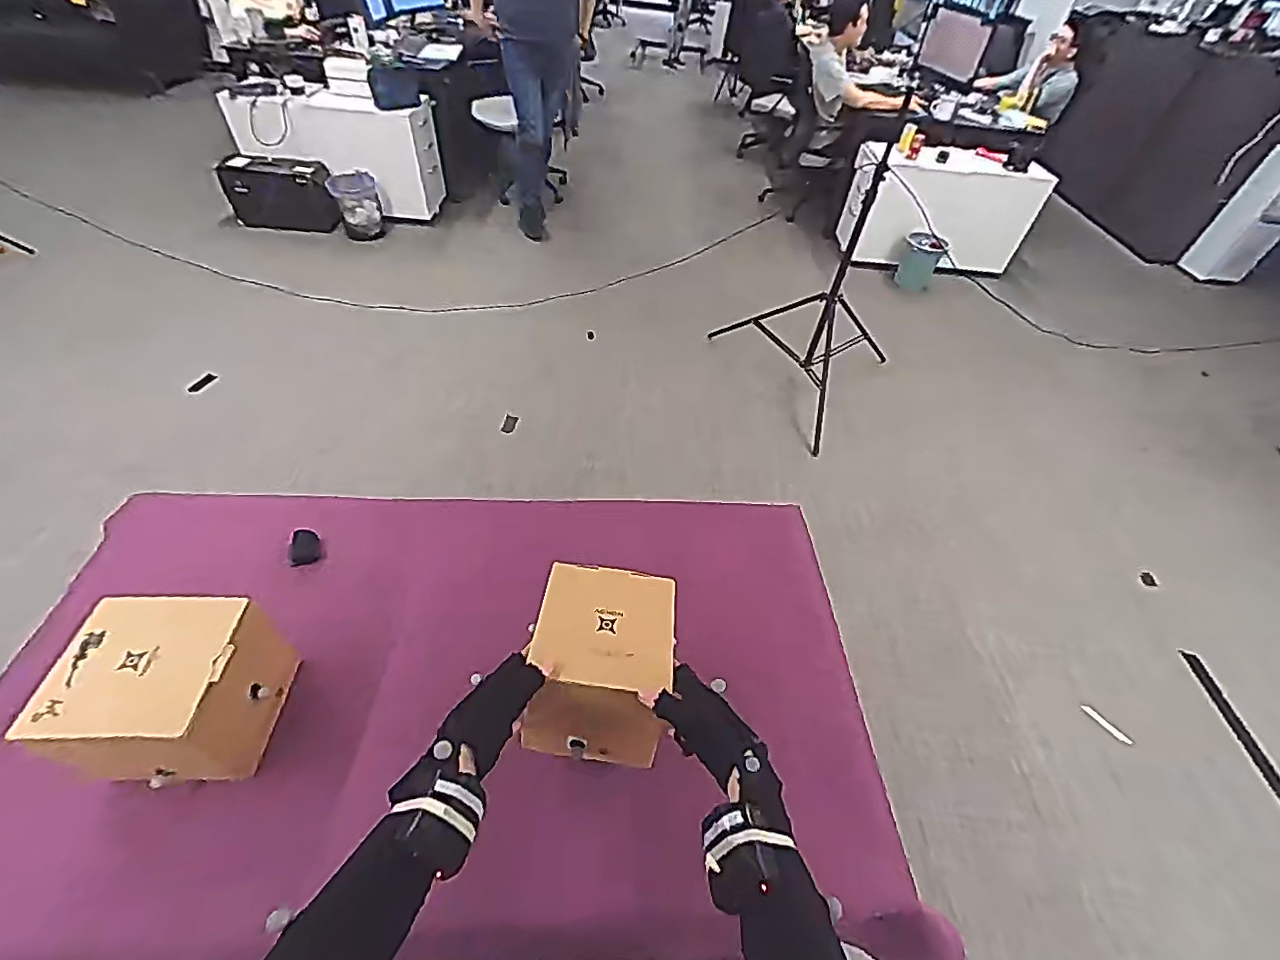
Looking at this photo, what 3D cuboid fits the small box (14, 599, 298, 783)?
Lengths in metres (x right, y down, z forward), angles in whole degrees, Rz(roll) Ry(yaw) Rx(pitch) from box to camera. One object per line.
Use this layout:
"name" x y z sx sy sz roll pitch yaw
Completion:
"small box" -0.567 0.265 0.673 0.179 0.176 0.168 2 47 -5

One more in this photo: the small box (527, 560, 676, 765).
"small box" -0.049 0.232 0.695 0.168 0.176 0.179 8 37 -2
